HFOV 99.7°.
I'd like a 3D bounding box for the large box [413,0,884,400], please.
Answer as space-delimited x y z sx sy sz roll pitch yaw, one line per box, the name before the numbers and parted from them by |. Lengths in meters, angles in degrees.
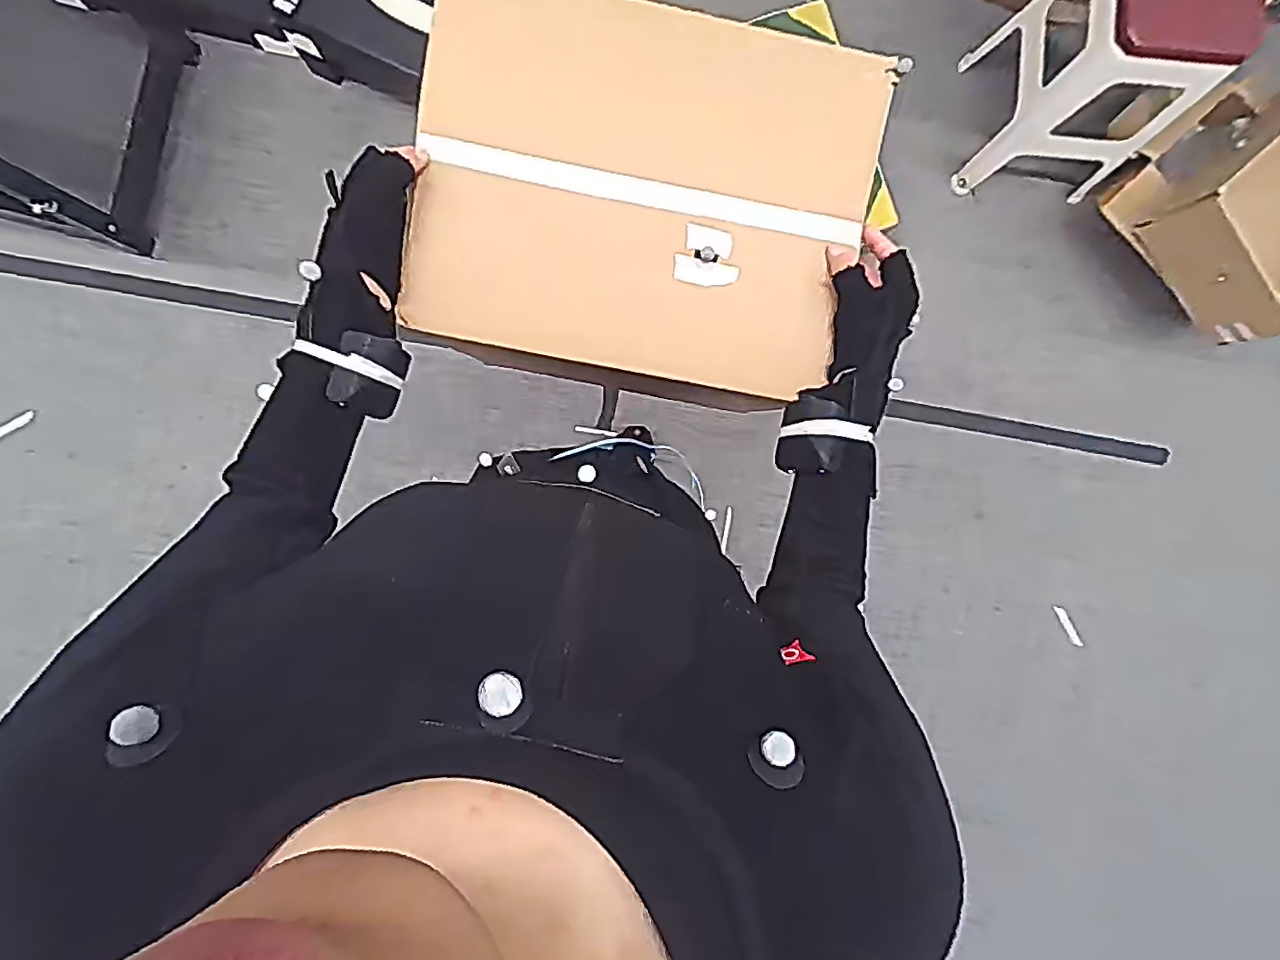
large box | -0.002 -0.284 0.648 0.408 0.320 0.320 10 97 -4
